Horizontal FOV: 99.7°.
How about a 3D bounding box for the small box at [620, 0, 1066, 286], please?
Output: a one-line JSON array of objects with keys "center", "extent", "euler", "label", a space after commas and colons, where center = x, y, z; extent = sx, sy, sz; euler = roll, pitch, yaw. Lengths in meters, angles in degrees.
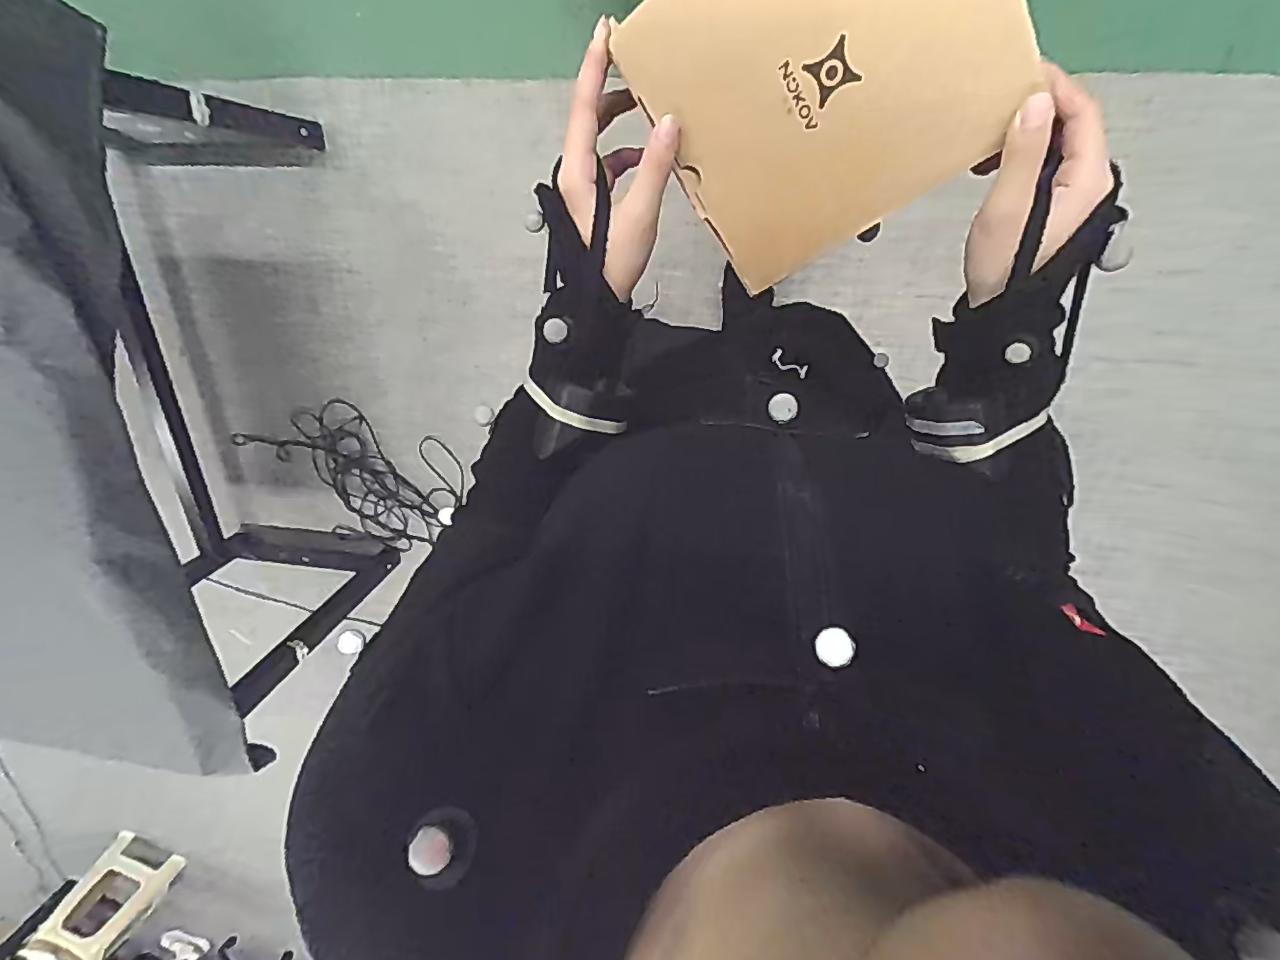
[{"center": [0.115, -0.262, 0.339], "extent": [0.179, 0.176, 0.168], "euler": [-24, 118, 29], "label": "small box"}]
